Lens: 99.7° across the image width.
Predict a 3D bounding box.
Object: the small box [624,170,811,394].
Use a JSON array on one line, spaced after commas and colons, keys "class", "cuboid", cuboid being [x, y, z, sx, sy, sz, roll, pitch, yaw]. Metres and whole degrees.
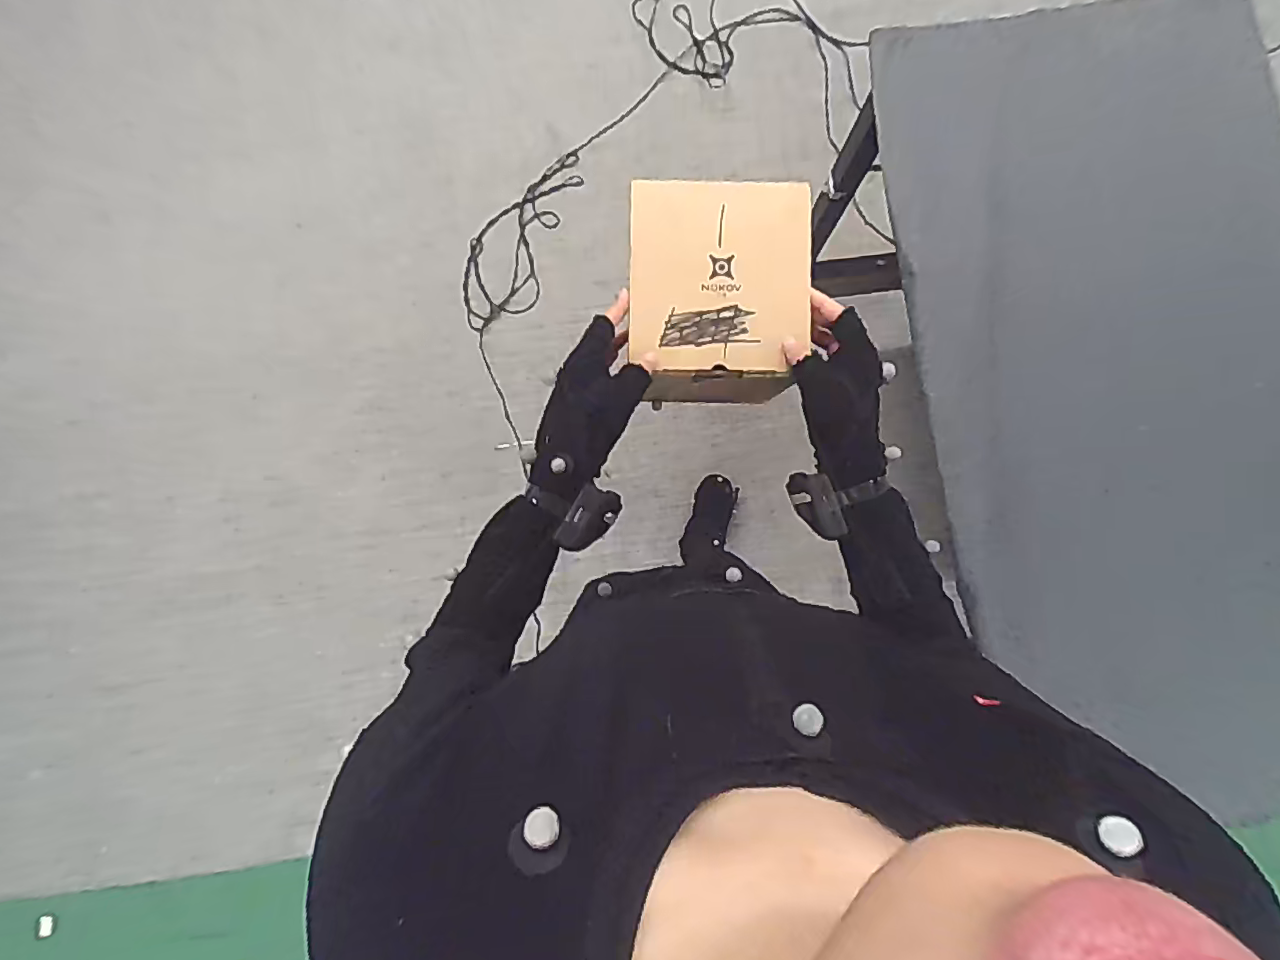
[{"class": "small box", "cuboid": [0.070, -0.189, 0.564, 0.168, 0.176, 0.179, 1, 88, -1]}]
